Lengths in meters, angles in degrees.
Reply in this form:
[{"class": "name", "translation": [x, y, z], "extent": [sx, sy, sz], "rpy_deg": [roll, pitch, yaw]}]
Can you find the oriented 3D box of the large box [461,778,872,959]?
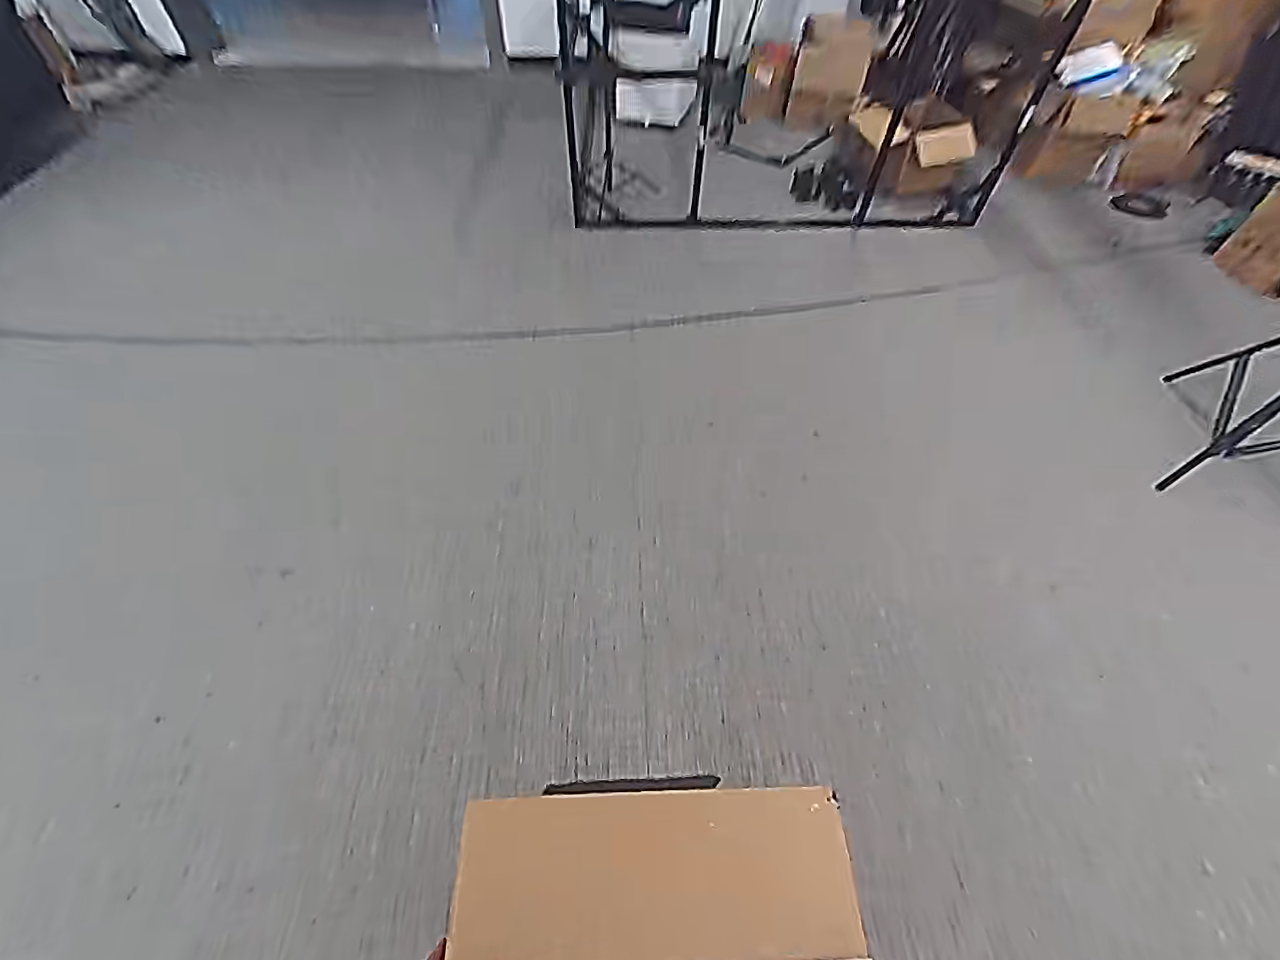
[{"class": "large box", "translation": [0.019, 0.553, 0.632], "extent": [0.408, 0.320, 0.320], "rpy_deg": [0, 55, -4]}]
